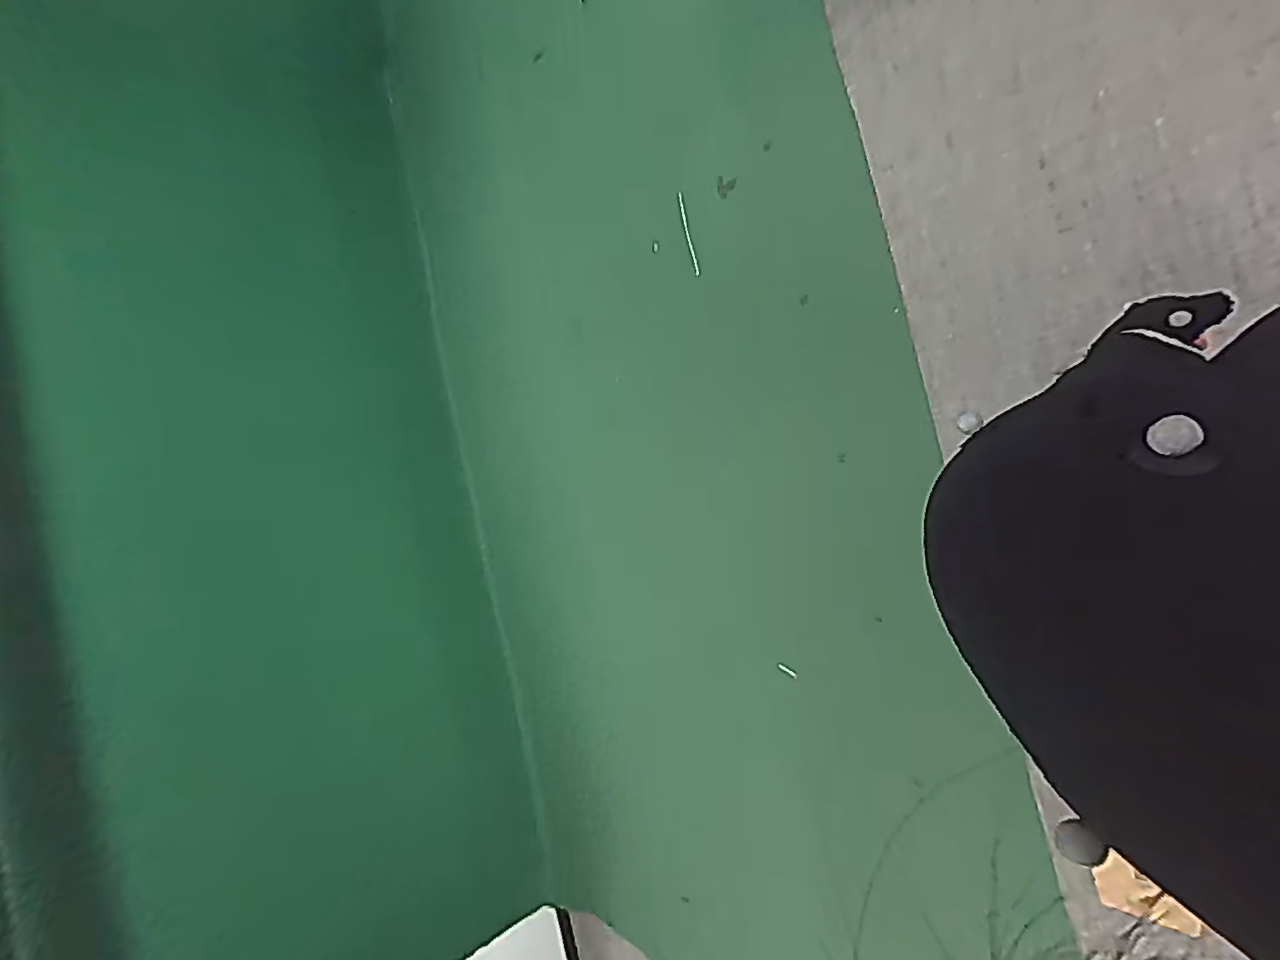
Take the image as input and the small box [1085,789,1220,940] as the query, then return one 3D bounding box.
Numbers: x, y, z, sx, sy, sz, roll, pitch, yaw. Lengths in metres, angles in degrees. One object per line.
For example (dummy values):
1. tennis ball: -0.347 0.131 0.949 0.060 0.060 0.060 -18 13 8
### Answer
1. small box: 1.076 0.789 1.136 0.168 0.176 0.179 -16 85 52
